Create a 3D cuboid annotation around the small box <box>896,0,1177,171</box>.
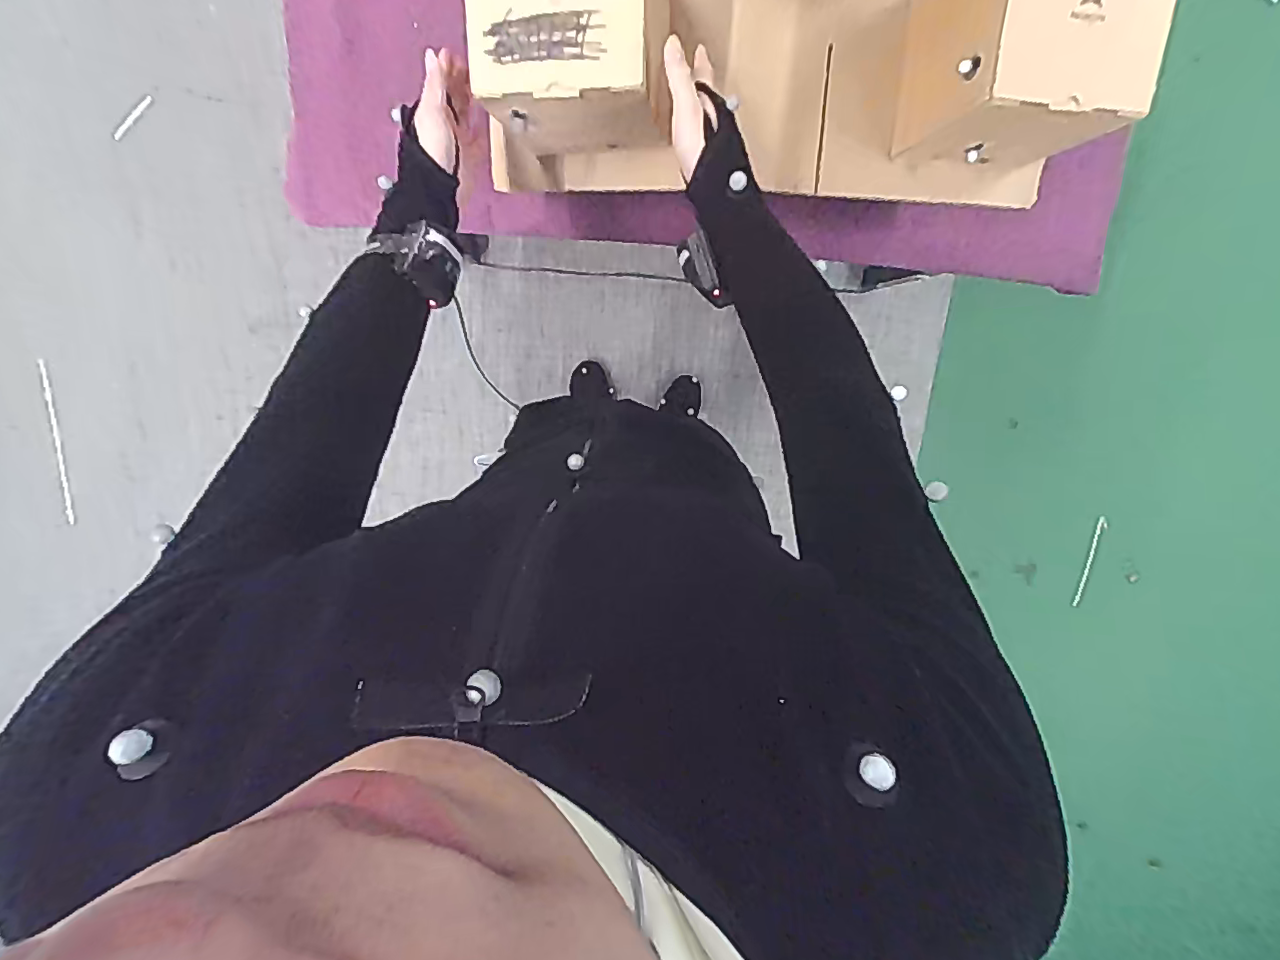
[{"bbox_3d":[0.390,-0.444,0.555,0.168,0.176,0.179,0,105,-7],"label":"small box"}]
